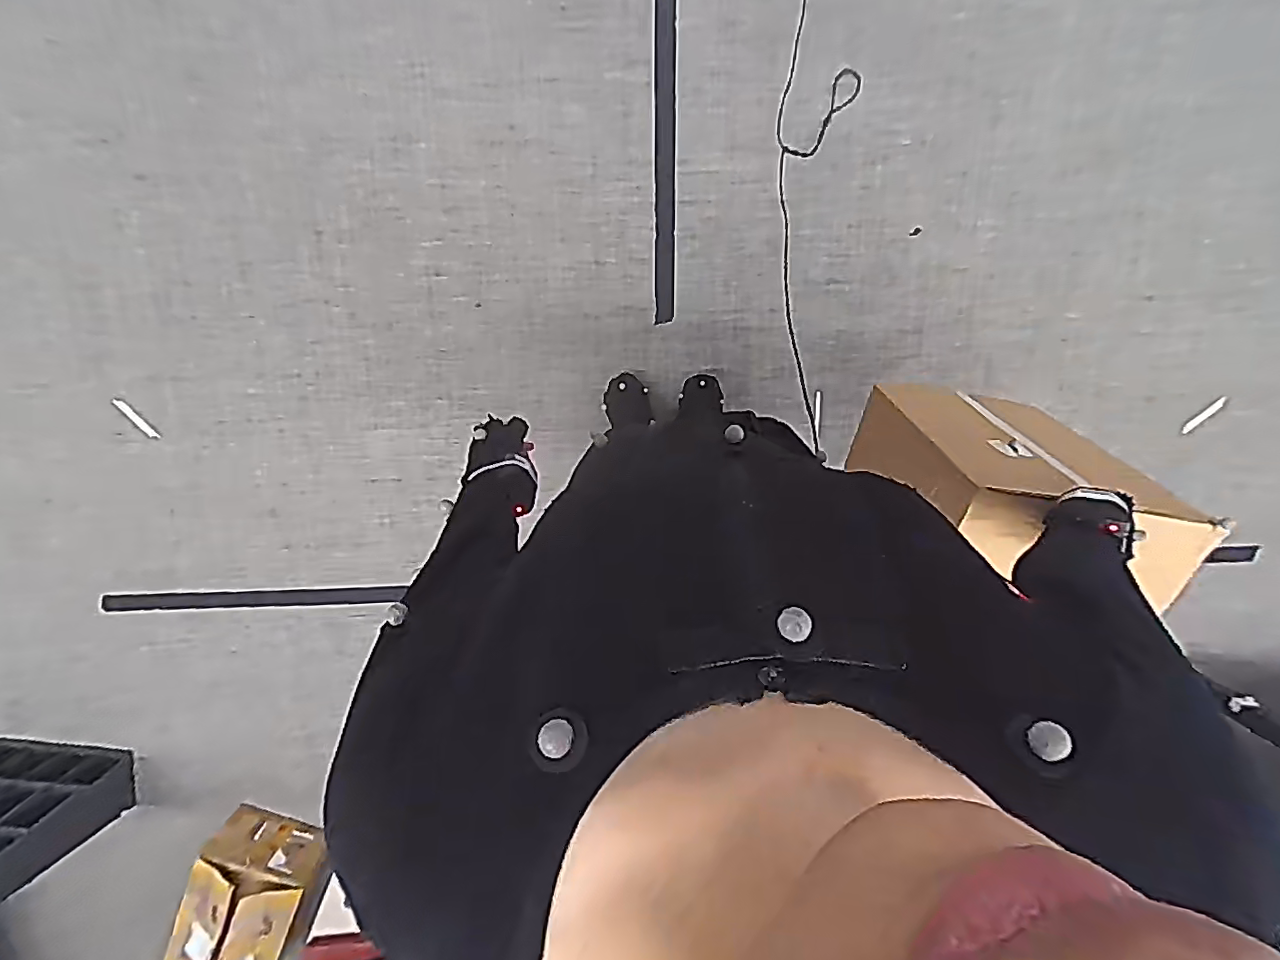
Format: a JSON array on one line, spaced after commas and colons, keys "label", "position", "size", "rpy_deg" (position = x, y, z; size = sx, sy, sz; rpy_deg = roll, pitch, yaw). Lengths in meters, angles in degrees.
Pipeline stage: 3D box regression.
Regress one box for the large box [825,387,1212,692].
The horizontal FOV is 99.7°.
[{"label": "large box", "position": [0.554, 0.077, 0.915], "size": [0.320, 0.408, 0.320], "rpy_deg": [8, 120, -1]}]
